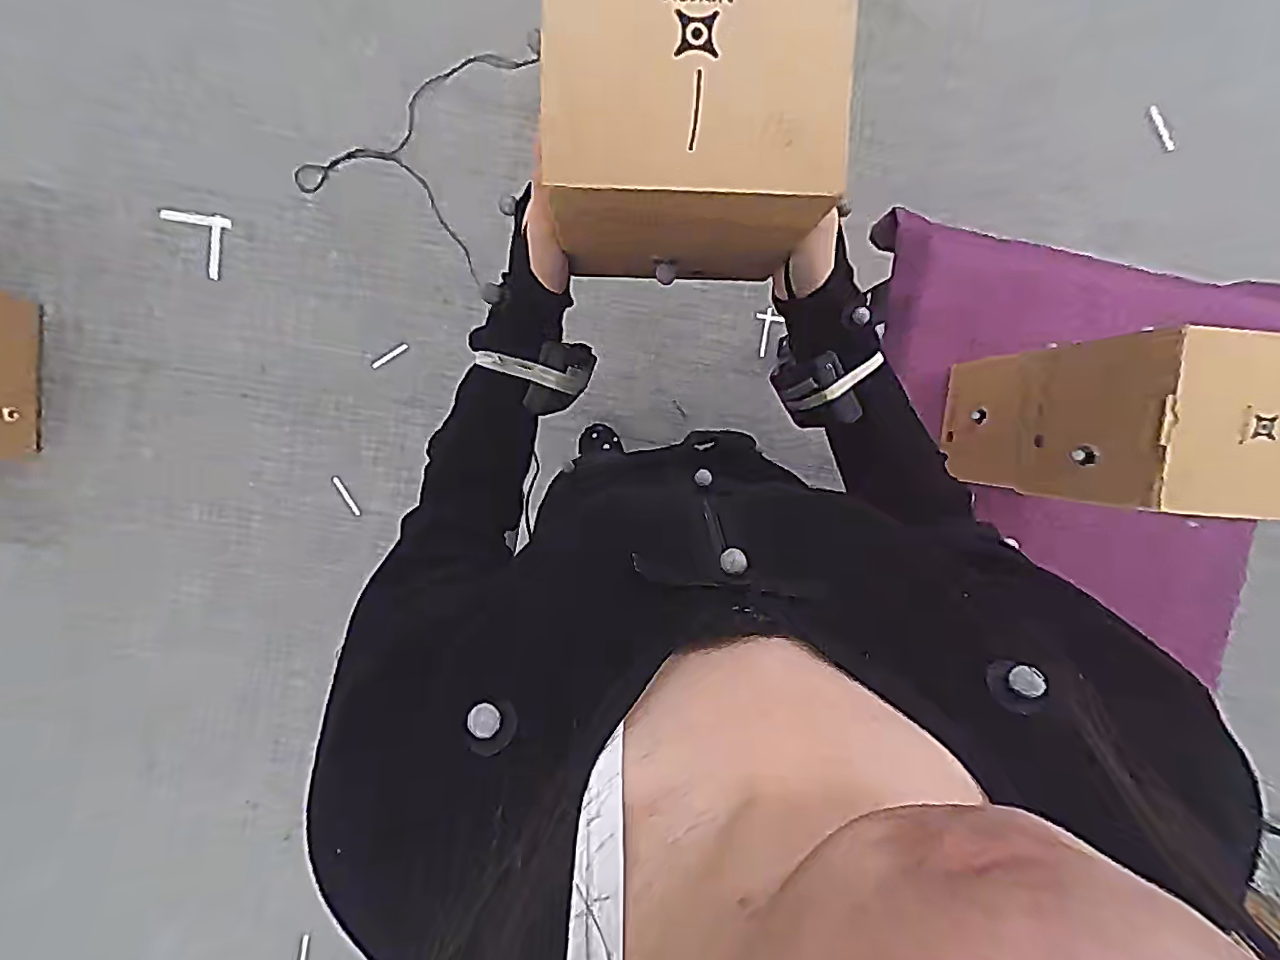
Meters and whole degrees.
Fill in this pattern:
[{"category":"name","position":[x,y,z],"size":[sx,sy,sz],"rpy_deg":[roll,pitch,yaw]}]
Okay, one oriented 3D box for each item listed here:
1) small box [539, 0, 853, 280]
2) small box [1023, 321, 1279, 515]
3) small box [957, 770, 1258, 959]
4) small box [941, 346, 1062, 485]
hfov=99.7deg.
[{"category":"small box","position":[0.026,-0.247,0.359],"size":[0.168,0.176,0.179],"rpy_deg":[0,96,-2]},{"category":"small box","position":[0.542,-0.059,0.558],"size":[0.179,0.176,0.168],"rpy_deg":[3,96,-5]},{"category":"small box","position":[0.494,0.454,0.601],"size":[0.179,0.176,0.168],"rpy_deg":[10,94,-5]},{"category":"small box","position":[0.538,-0.074,0.720],"size":[0.179,0.176,0.168],"rpy_deg":[5,95,-5]}]
